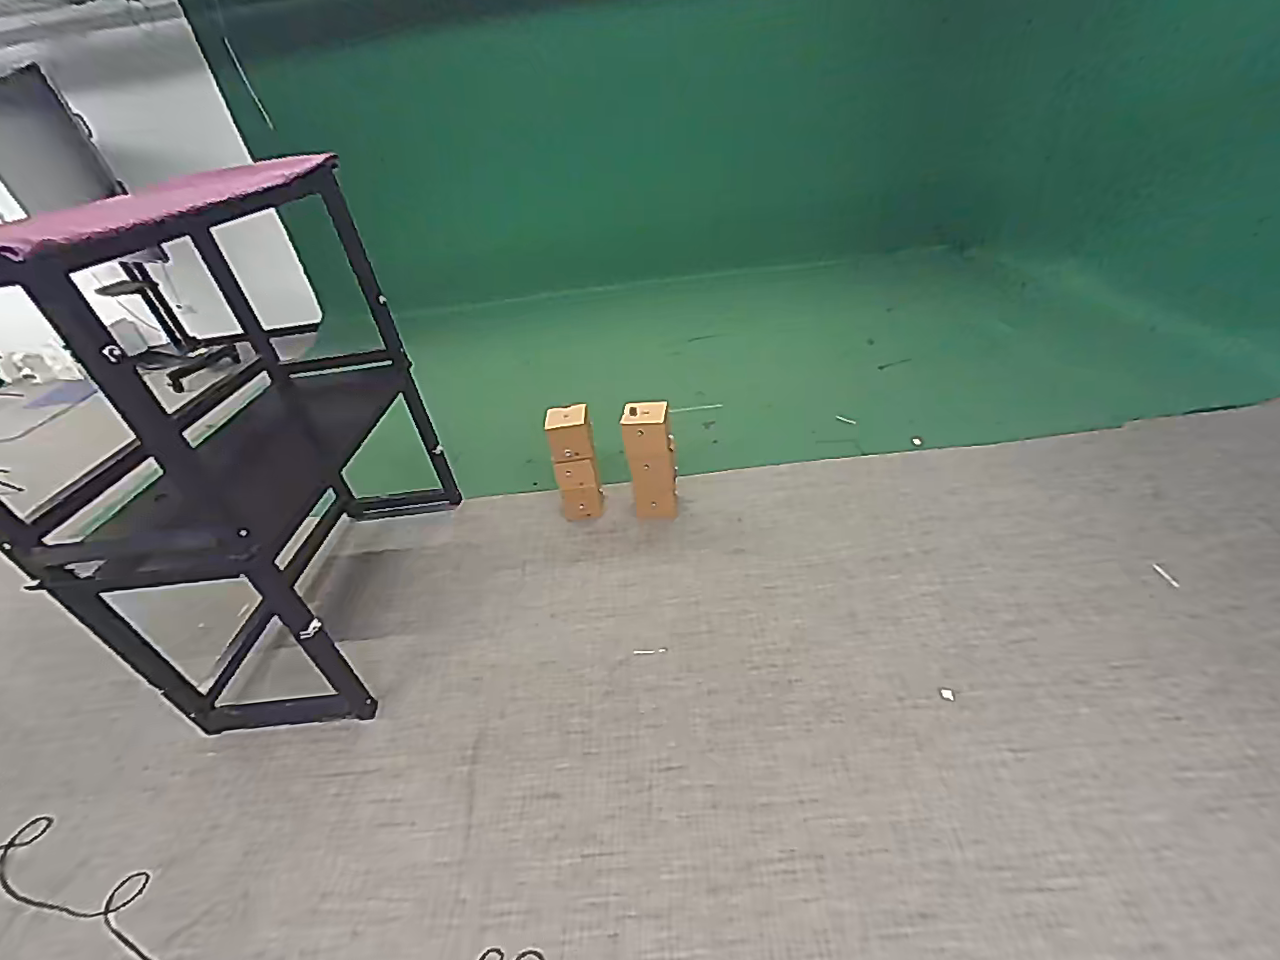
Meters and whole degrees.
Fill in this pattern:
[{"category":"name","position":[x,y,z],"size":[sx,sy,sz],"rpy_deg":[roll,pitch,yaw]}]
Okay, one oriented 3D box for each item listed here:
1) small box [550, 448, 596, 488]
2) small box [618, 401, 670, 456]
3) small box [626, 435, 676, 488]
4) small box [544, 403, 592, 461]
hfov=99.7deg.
[{"category":"small box","position":[-0.290,-0.076,2.381],"size":[0.168,0.176,0.179],"rpy_deg":[-7,35,3]},{"category":"small box","position":[0.022,-0.207,2.207],"size":[0.179,0.176,0.168],"rpy_deg":[-1,37,11]},{"category":"small box","position":[0.049,-0.077,2.303],"size":[0.179,0.176,0.168],"rpy_deg":[0,38,13]},{"category":"small box","position":[-0.299,-0.200,2.274],"size":[0.168,0.176,0.179],"rpy_deg":[-9,36,2]}]
